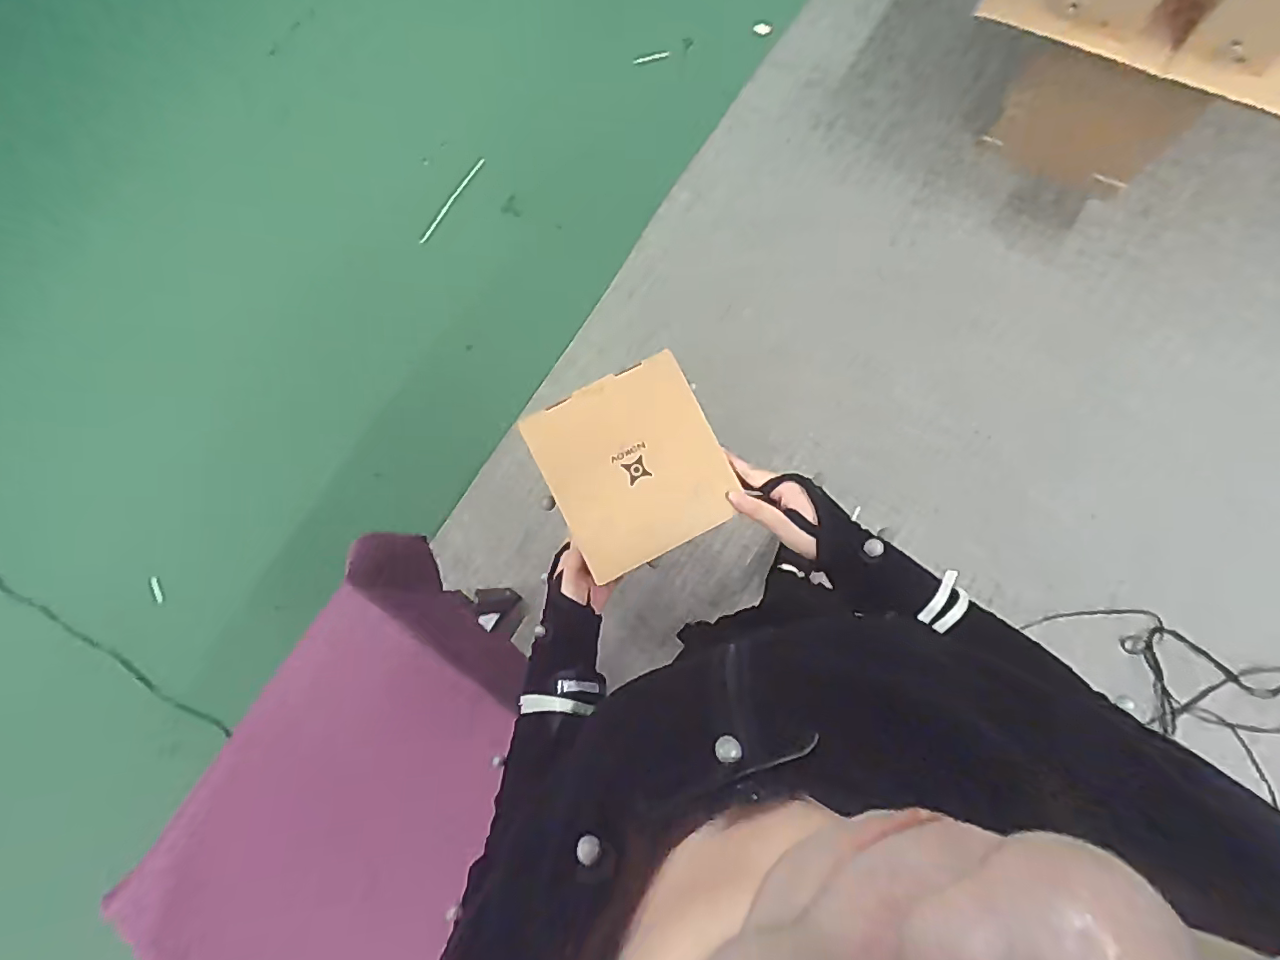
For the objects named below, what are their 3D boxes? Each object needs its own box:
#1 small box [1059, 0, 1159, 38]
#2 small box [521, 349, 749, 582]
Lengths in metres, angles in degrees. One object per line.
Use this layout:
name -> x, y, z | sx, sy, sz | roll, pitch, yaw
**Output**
small box -> 0.996, -1.048, 1.084 | 0.168, 0.176, 0.179 | 33, 84, 13
small box -> -0.005, -0.010, 0.589 | 0.168, 0.176, 0.179 | -26, 86, -3
